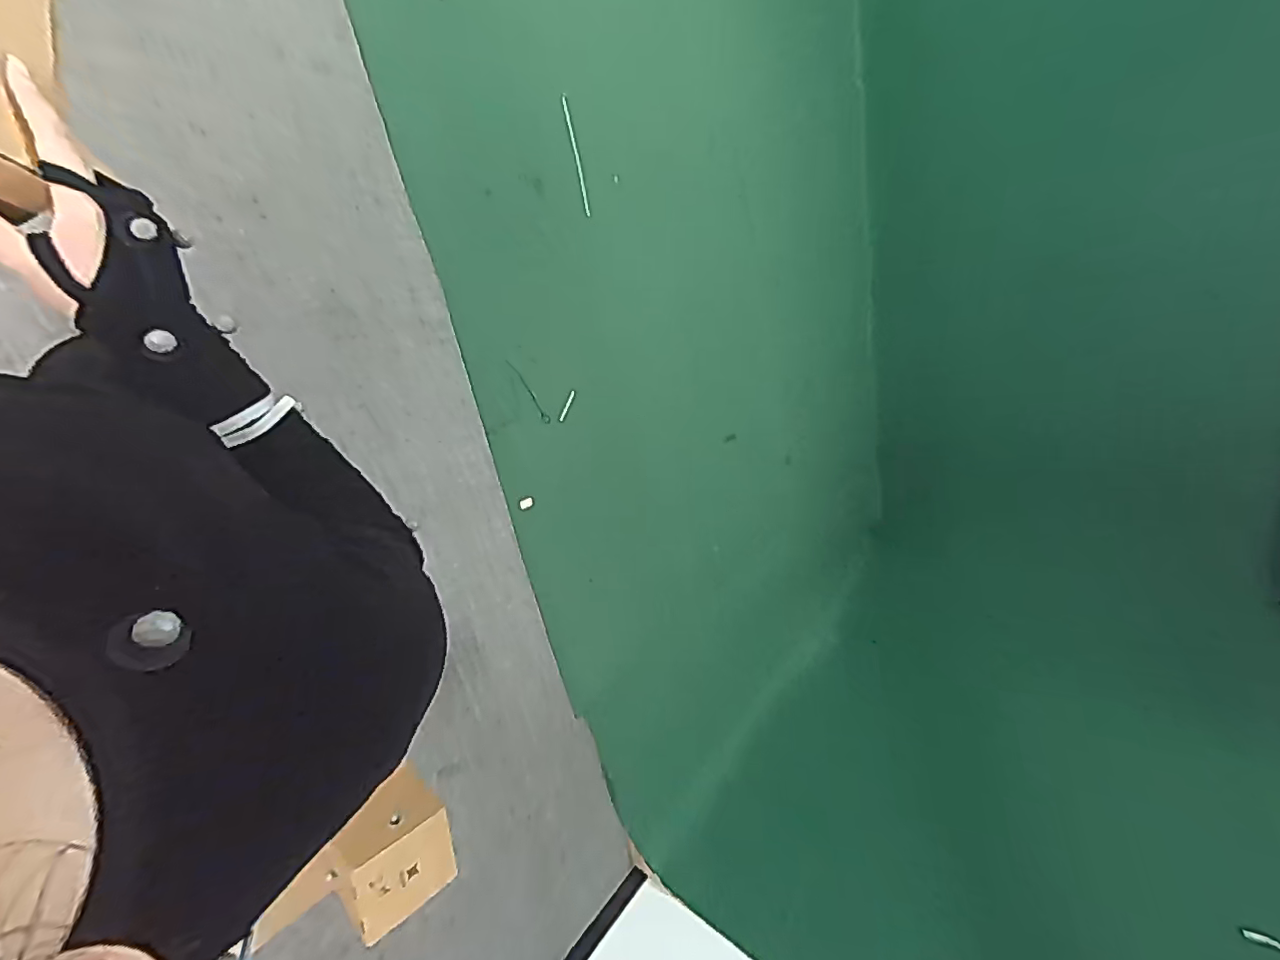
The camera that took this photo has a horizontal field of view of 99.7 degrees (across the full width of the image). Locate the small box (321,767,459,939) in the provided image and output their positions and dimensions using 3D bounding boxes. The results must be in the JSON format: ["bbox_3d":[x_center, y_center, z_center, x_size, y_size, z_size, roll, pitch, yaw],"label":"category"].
[{"bbox_3d":[-0.477,0.695,1.036,0.179,0.176,0.168,-18,109,-43],"label":"small box"}]
